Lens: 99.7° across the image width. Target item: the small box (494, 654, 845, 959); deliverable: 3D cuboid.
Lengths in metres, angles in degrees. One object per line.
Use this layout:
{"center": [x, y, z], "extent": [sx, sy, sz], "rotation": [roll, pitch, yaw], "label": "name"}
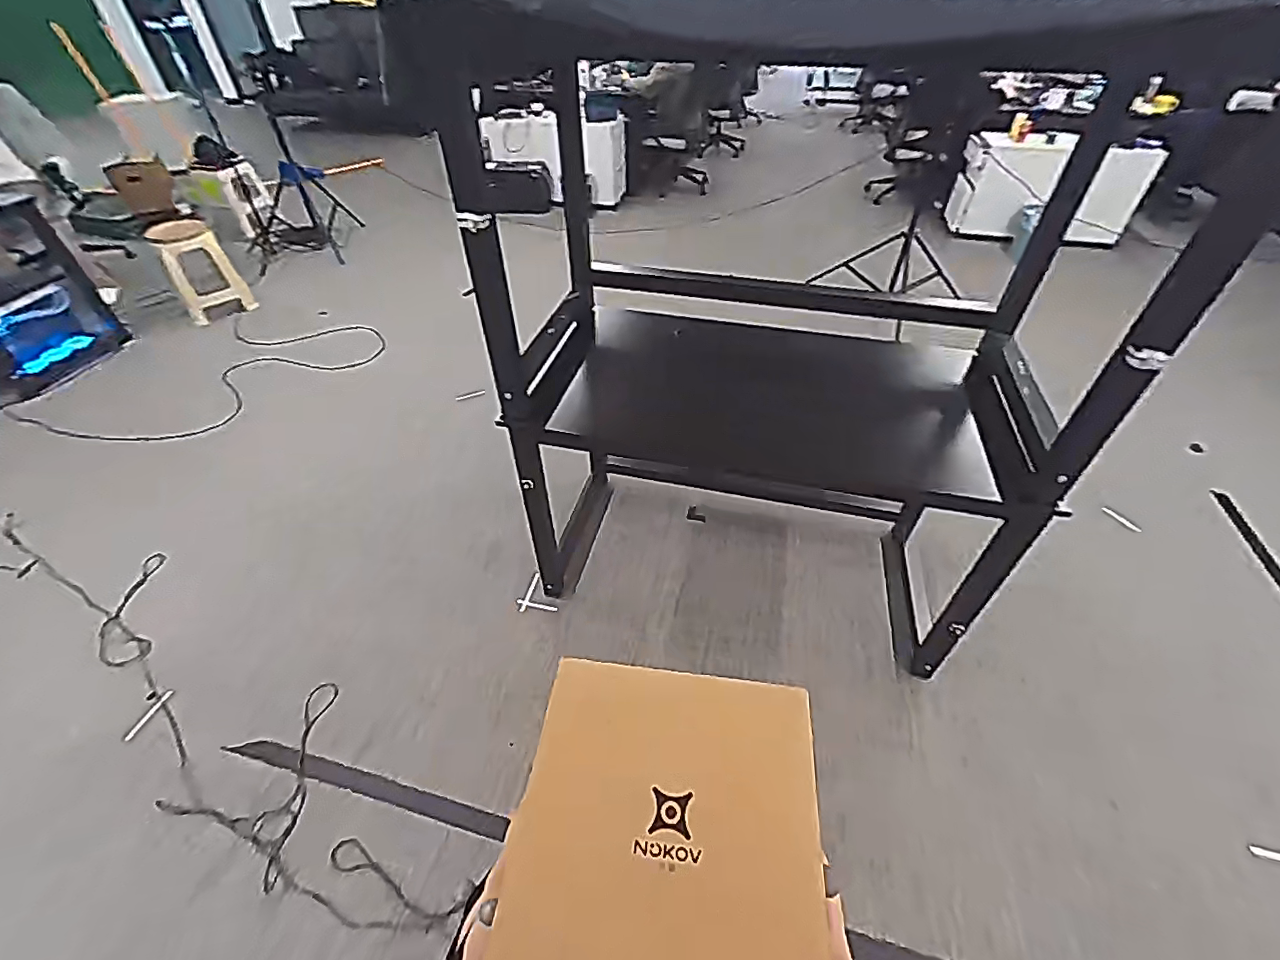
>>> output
{"center": [0.020, 0.241, 0.349], "extent": [0.168, 0.176, 0.179], "rotation": [5, 45, 5], "label": "small box"}
